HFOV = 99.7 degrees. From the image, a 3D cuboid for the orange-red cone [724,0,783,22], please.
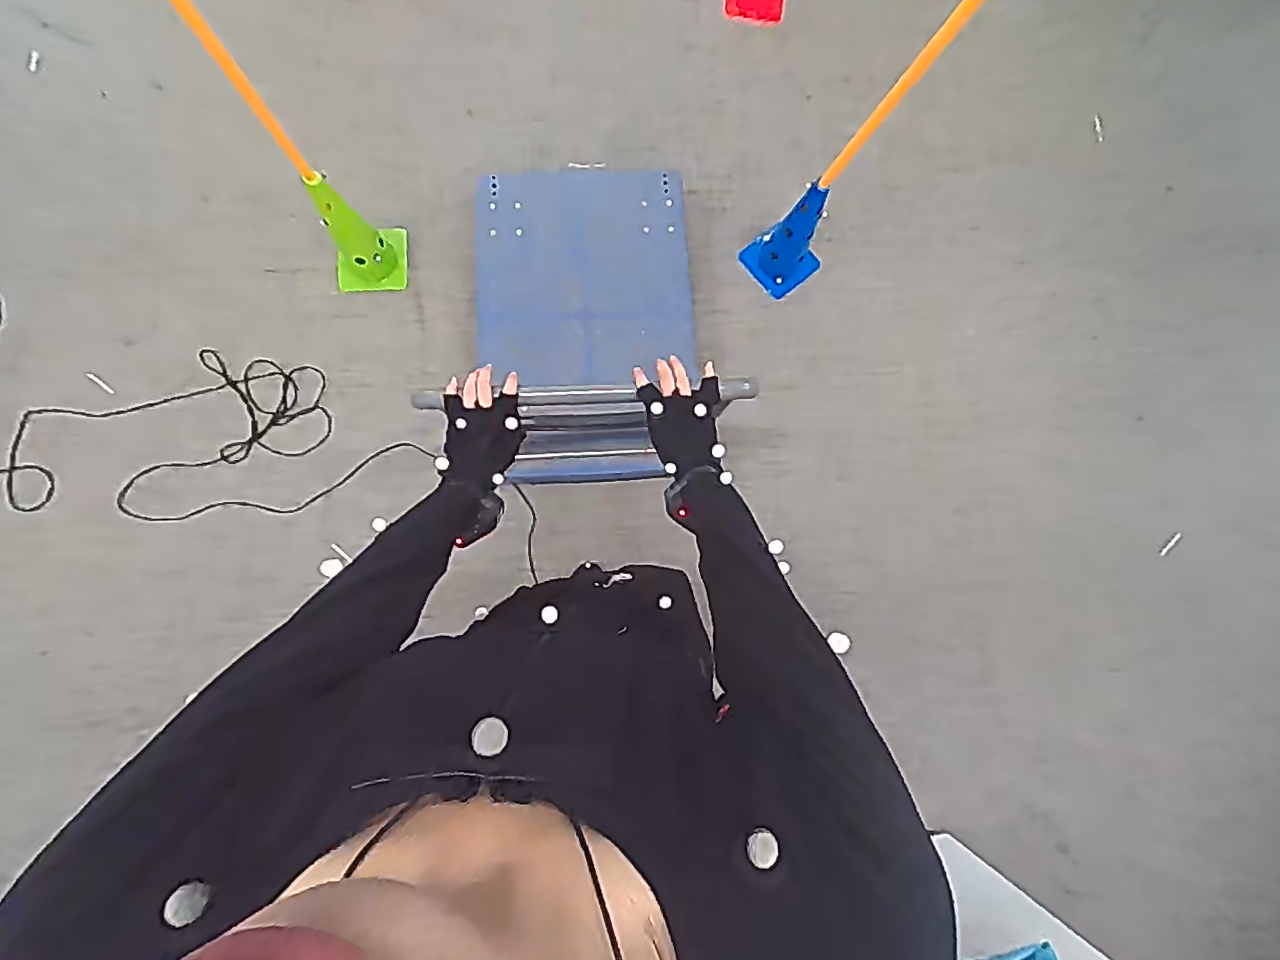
[{"bbox_3d":[0.400,-1.687,1.682,0.198,0.360,0.199,8,81,-1],"label":"orange-red cone"}]
